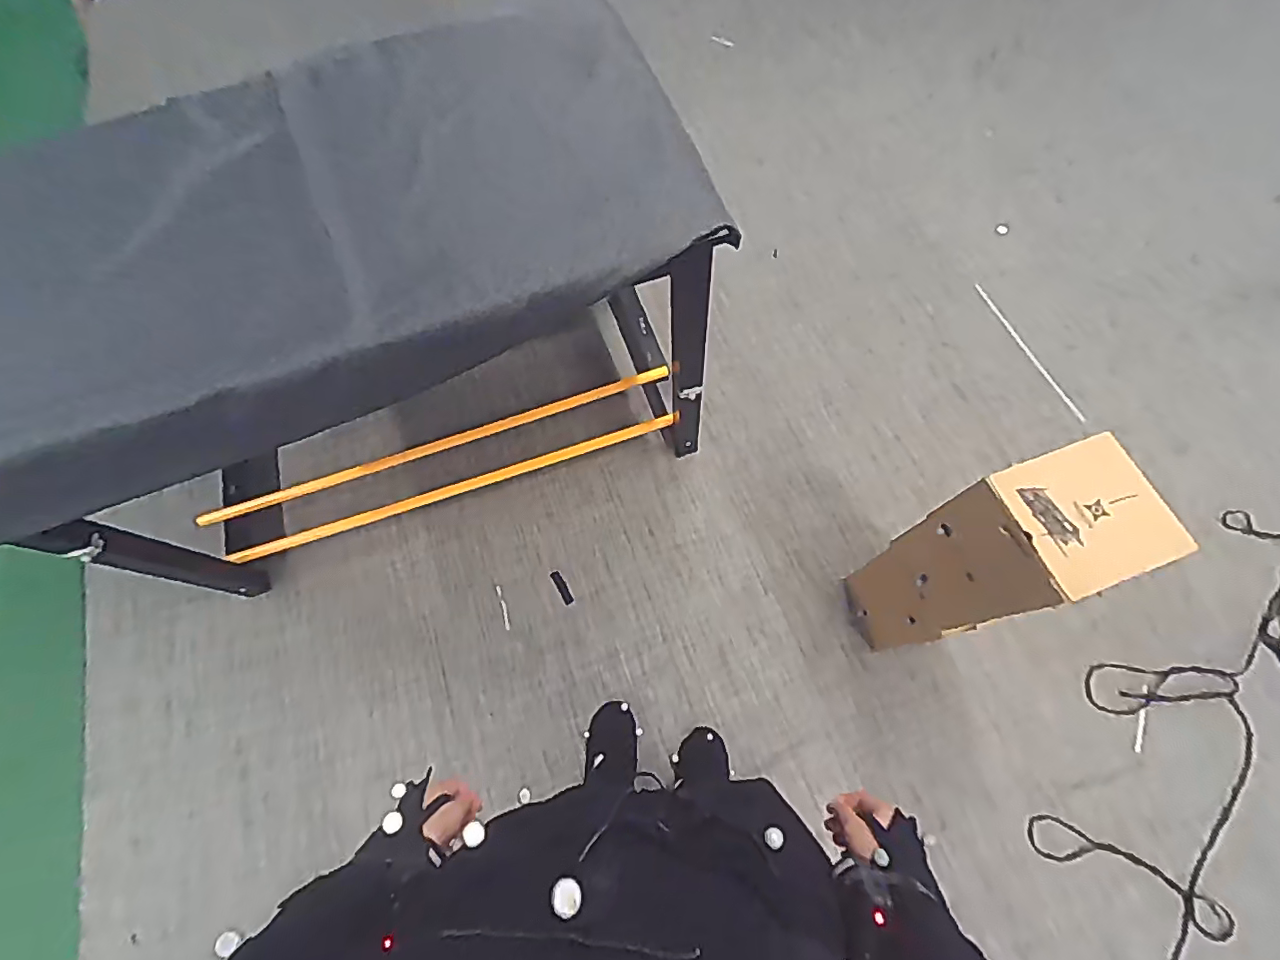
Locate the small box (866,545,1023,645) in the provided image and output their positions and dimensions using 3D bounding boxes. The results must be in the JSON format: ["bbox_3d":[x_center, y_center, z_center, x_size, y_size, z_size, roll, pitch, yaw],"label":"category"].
[{"bbox_3d":[0.558,0.199,1.011,0.168,0.176,0.179,-19,68,-5],"label":"small box"}]

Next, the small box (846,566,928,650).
[{"bbox_3d":[0.572,0.258,1.161,0.168,0.176,0.179,-16,70,-4],"label":"small box"}]

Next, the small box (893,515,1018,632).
[{"bbox_3d":[0.545,0.132,0.861,0.179,0.176,0.168,-18,68,-4],"label":"small box"}]

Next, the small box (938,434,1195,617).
[{"bbox_3d":[0.529,0.069,0.710,0.179,0.176,0.168,-19,69,-6],"label":"small box"}]
